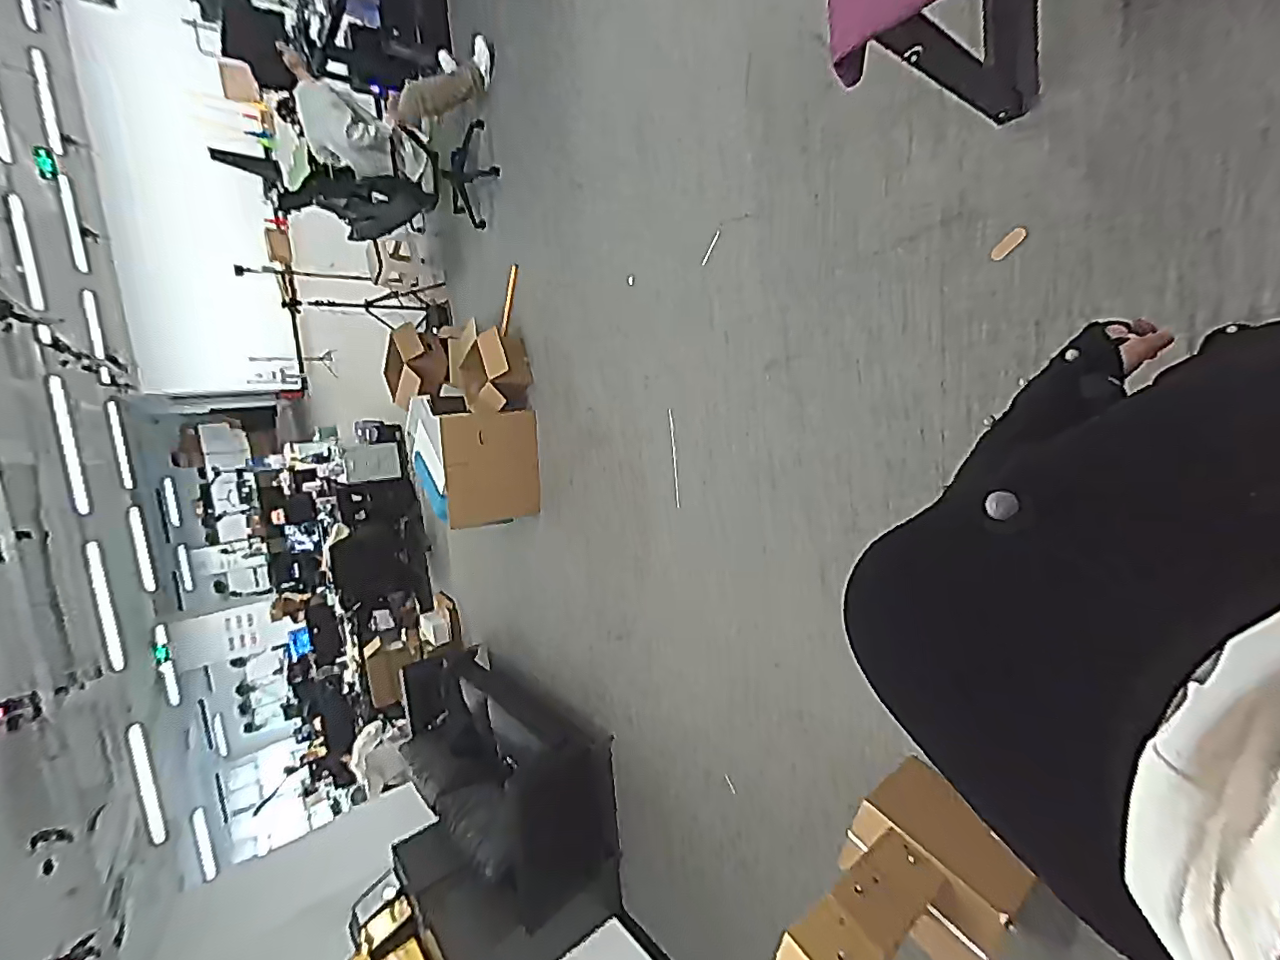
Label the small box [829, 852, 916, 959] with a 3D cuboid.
[{"bbox_3d":[0.586,1.124,1.403,0.168,0.176,0.179,31,122,45],"label":"small box"}]

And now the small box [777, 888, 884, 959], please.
[{"bbox_3d":[0.460,1.148,1.305,0.168,0.176,0.179,30,121,45],"label":"small box"}]

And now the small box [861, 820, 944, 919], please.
[{"bbox_3d":[0.711,1.106,1.506,0.168,0.176,0.179,33,122,43],"label":"small box"}]
